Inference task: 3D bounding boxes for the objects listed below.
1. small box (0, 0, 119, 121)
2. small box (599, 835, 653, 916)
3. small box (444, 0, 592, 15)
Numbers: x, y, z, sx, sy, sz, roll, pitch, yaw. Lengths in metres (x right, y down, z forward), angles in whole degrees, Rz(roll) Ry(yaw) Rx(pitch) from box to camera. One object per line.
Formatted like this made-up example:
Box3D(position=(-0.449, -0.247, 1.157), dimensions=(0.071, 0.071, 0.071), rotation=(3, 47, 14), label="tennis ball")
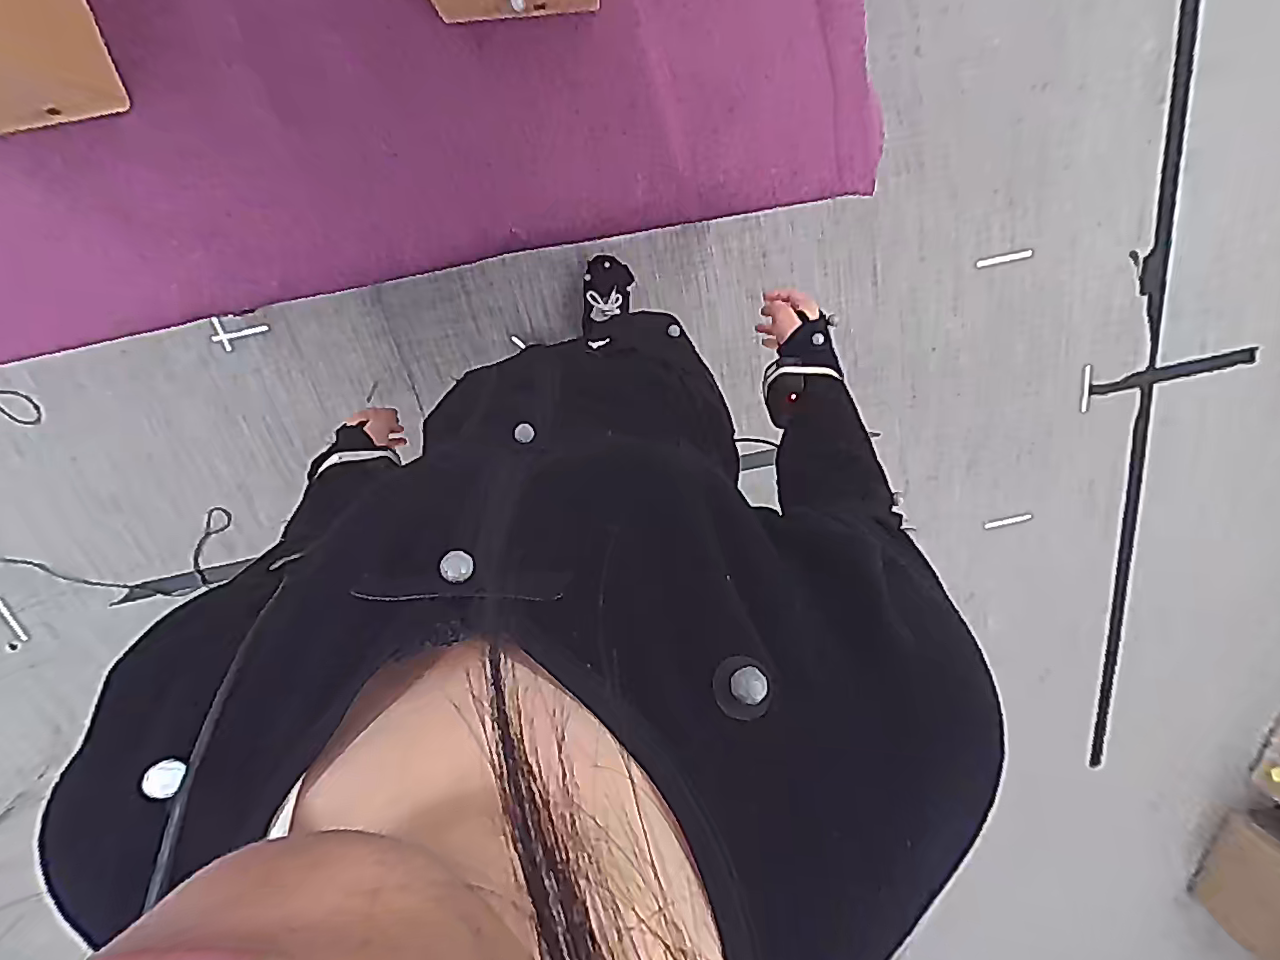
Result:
Box3D(position=(-0.613, -0.423, 0.453), dimensions=(0.168, 0.176, 0.179), rotation=(-12, 110, -2), label="small box")
Box3D(position=(-0.055, 1.434, 1.976), dimensions=(0.168, 0.176, 0.179), rotation=(-13, 112, 0), label="small box")
Box3D(position=(-0.125, -0.545, 0.460), dimensions=(0.168, 0.176, 0.179), rotation=(-7, 111, -3), label="small box")
